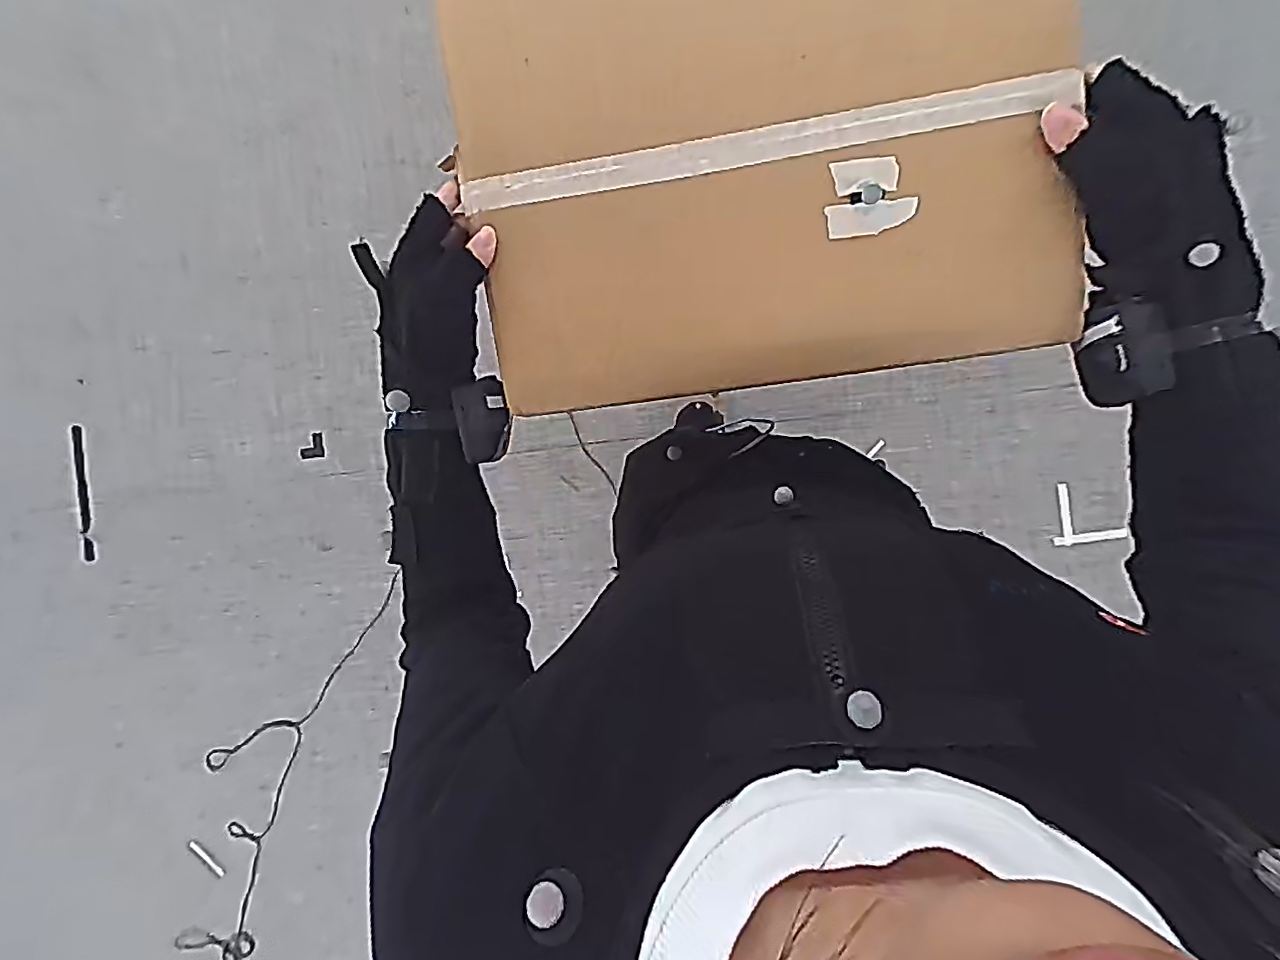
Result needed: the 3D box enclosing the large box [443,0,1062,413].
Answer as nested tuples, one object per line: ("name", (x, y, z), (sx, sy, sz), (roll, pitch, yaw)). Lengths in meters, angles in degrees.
("large box", (0.088, -0.255, 0.521), (0.408, 0.320, 0.320), (-8, 100, 5))
